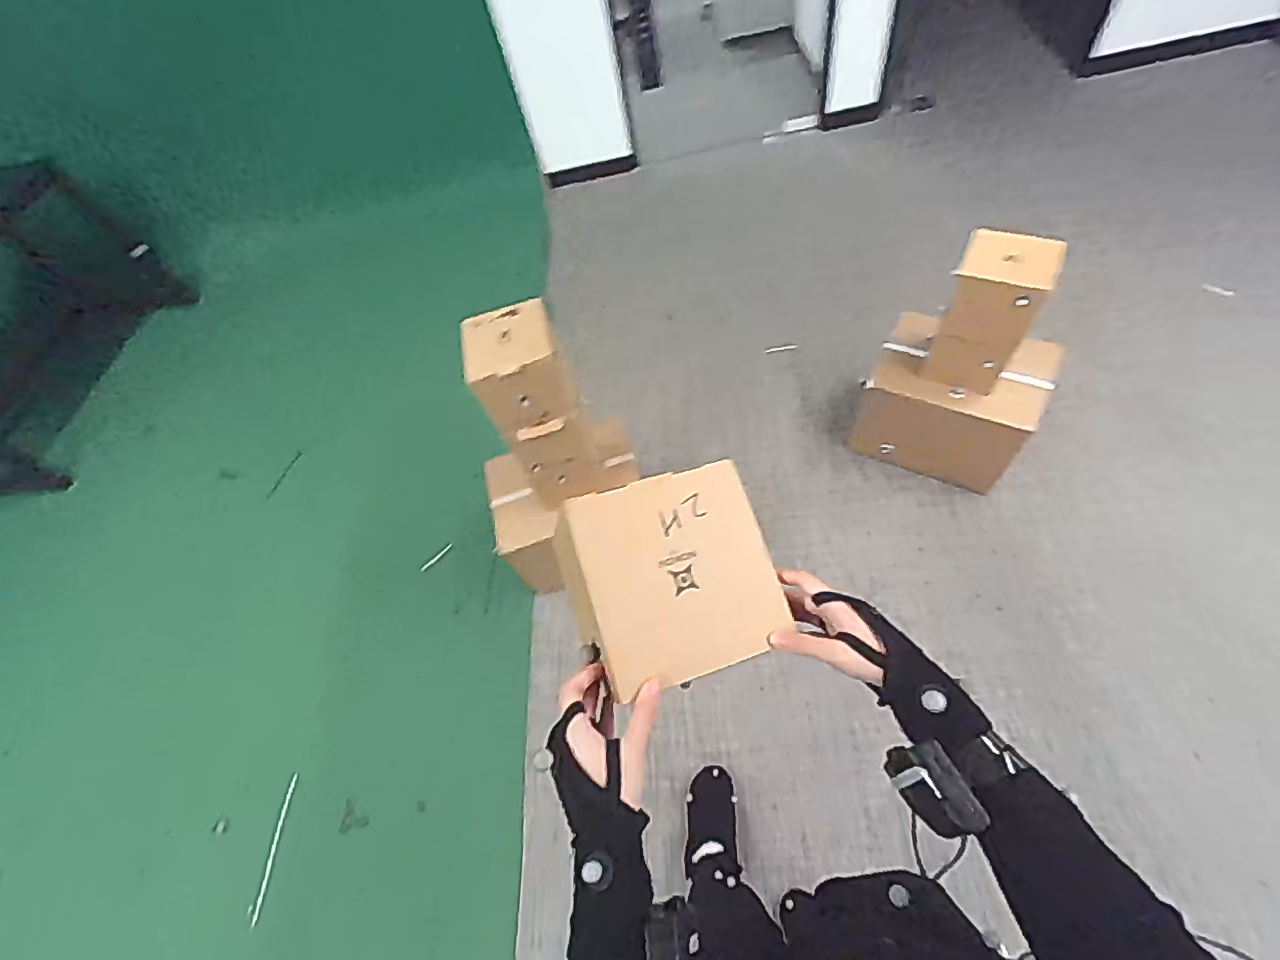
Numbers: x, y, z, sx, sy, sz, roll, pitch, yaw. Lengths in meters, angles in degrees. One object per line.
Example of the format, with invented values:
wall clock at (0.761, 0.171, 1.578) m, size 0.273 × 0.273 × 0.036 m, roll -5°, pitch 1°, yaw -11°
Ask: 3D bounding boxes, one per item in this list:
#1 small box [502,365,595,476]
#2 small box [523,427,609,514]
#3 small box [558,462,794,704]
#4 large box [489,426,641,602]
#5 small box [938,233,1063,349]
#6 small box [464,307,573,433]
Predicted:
small box at (-0.211, -0.127, 1.245) m, size 0.168 × 0.176 × 0.179 m, roll -15°, pitch 57°, yaw 2°
small box at (-0.190, -0.033, 1.378) m, size 0.179 × 0.176 × 0.168 m, roll -17°, pitch 57°, yaw 1°
small box at (0.019, 0.105, 0.540) m, size 0.168 × 0.176 × 0.179 m, roll -14°, pitch 73°, yaw -16°
large box at (-0.172, 0.108, 1.579) m, size 0.408 × 0.320 × 0.320 m, roll -20°, pitch 54°, yaw 0°
small box at (0.800, -0.421, 1.216) m, size 0.179 × 0.176 × 0.168 m, roll 21°, pitch 64°, yaw 22°
small box at (-0.245, -0.216, 1.111) m, size 0.168 × 0.176 × 0.179 m, roll -16°, pitch 58°, yaw 1°
